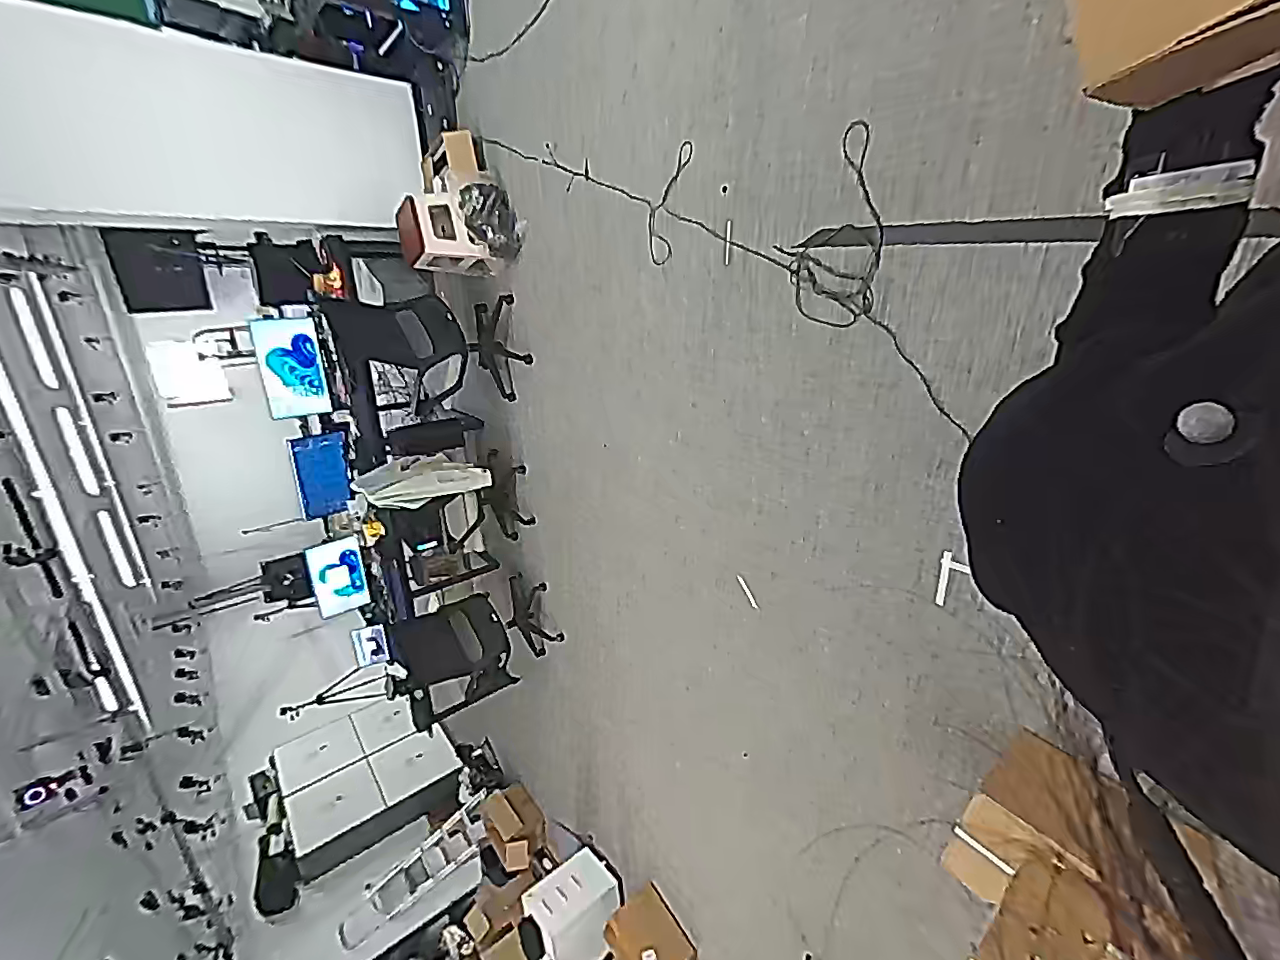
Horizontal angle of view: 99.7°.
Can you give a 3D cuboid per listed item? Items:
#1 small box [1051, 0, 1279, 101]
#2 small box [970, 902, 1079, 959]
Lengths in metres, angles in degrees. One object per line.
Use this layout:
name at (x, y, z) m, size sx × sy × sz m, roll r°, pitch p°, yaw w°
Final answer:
small box at (0.276, -0.288, 0.216) m, size 0.168 × 0.176 × 0.179 m, roll -7°, pitch 105°, yaw 51°
small box at (0.754, 0.997, 1.064) m, size 0.168 × 0.176 × 0.179 m, roll 30°, pitch 125°, yaw 43°
